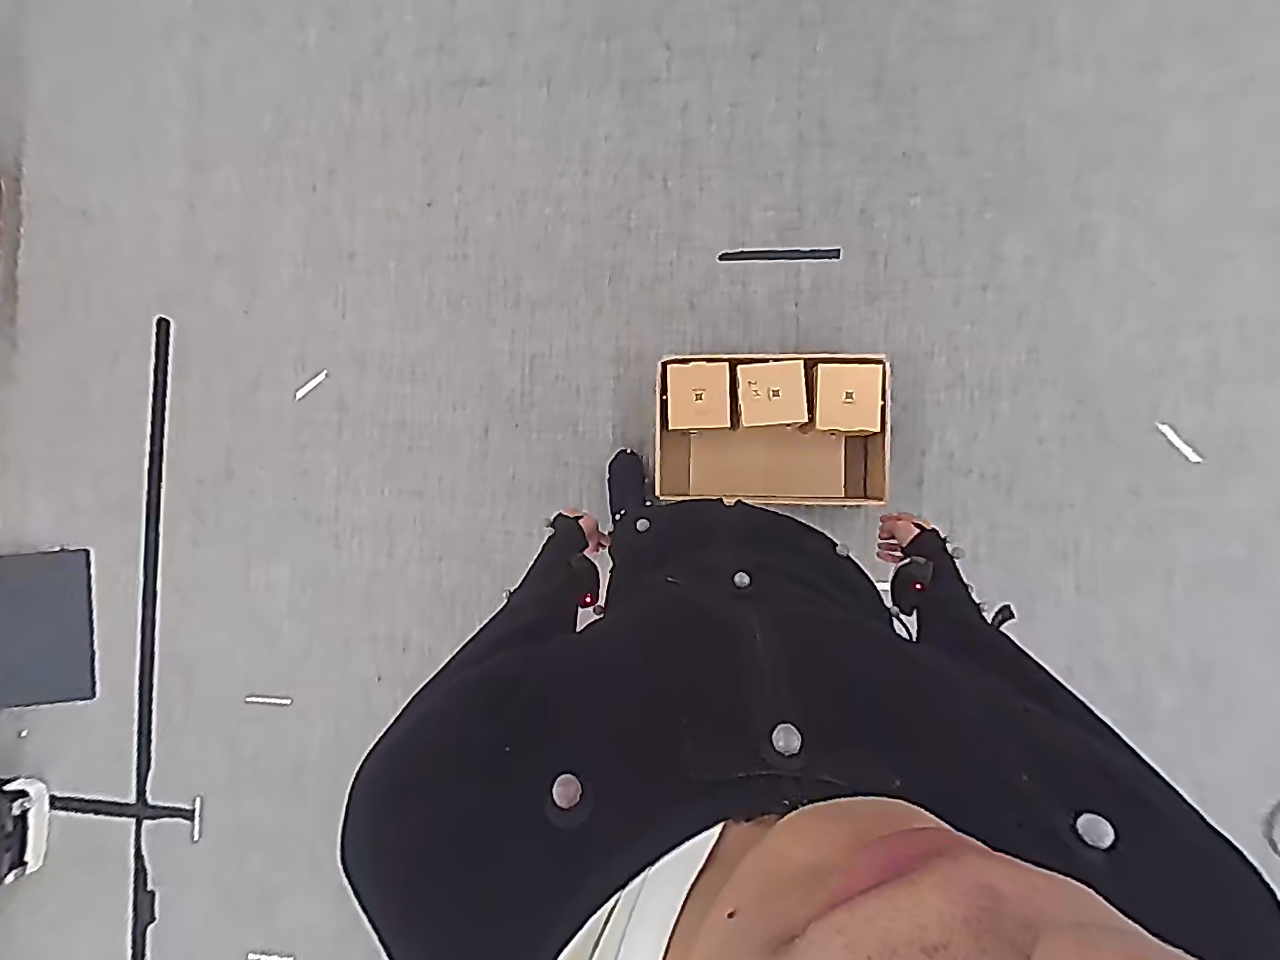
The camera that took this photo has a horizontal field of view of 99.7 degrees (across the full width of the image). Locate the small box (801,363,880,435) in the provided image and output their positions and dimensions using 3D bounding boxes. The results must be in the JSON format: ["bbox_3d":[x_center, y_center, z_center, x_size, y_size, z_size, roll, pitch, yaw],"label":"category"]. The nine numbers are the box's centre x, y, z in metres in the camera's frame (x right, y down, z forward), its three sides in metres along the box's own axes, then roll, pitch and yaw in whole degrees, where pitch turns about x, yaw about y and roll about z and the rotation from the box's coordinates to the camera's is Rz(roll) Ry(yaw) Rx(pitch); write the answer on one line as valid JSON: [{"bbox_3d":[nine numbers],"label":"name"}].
[{"bbox_3d":[0.544,-0.217,1.486,0.168,0.176,0.179,1,92,5],"label":"small box"}]
